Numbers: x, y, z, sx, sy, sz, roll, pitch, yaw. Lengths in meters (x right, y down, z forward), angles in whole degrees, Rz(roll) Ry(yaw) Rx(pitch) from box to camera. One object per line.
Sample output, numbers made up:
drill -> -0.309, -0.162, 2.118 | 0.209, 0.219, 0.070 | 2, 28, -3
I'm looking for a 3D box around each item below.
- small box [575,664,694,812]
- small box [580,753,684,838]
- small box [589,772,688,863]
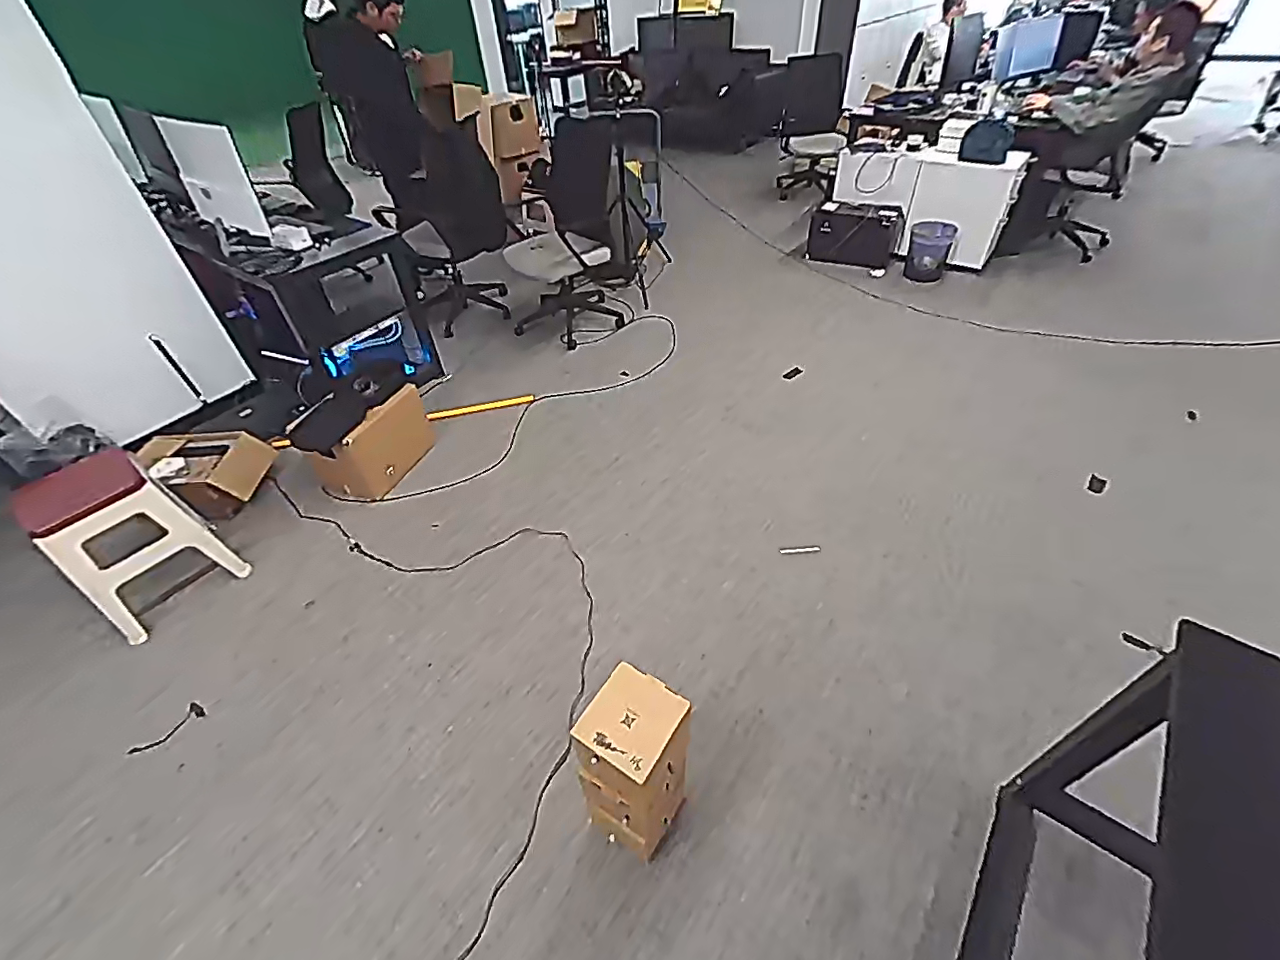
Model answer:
small box -> -0.009, 0.511, 1.075 | 0.168, 0.176, 0.179 | 23, 49, 26
small box -> -0.007, 0.638, 1.181 | 0.168, 0.176, 0.179 | 21, 47, 23
small box -> -0.001, 0.761, 1.287 | 0.168, 0.176, 0.179 | 23, 50, 26
